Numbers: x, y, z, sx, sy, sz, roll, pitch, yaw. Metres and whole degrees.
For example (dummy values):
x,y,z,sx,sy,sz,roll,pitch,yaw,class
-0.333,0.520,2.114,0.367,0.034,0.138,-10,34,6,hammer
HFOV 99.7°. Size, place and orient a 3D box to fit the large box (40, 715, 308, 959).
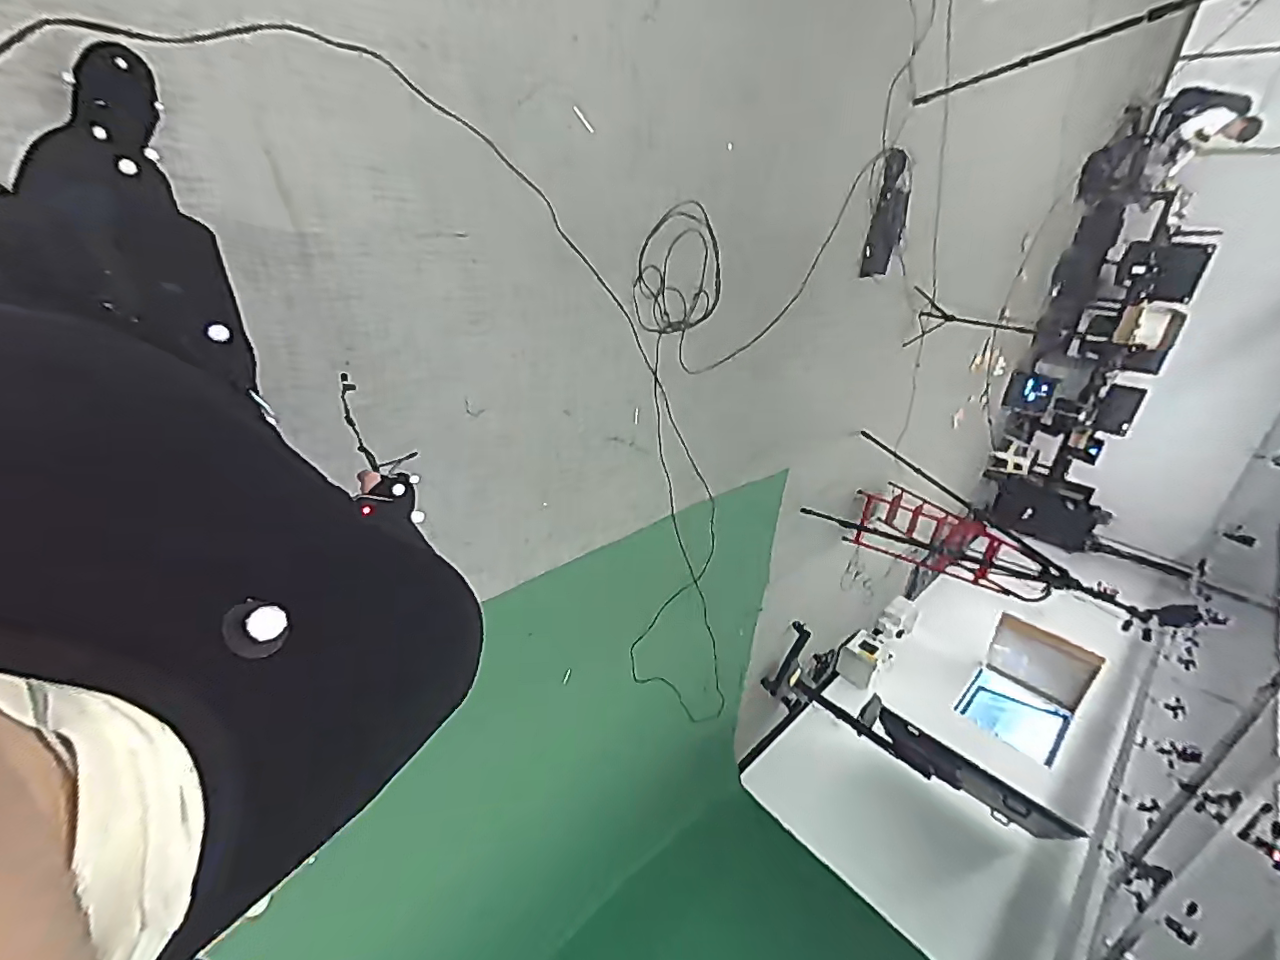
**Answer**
x,y,z,sx,sy,sz,roll,pitch,yaw,class
-1.121,0.867,1.326,0.320,0.320,0.408,-37,135,-27,large box
